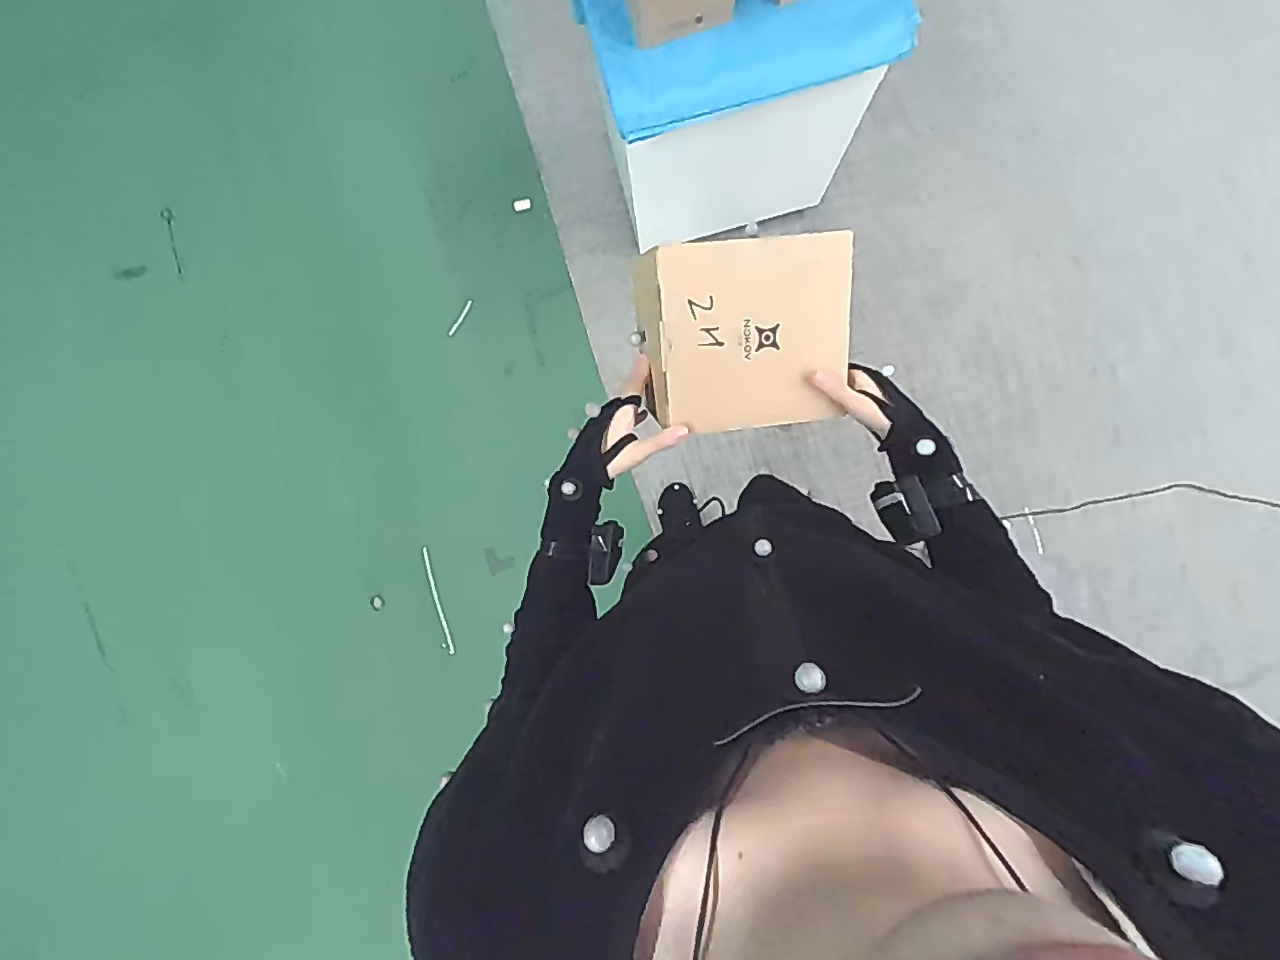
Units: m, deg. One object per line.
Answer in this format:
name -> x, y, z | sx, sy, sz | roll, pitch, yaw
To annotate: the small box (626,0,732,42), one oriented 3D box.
small box -> 0.054, -0.850, 0.861 | 0.168, 0.176, 0.179 | -15, 87, 2
